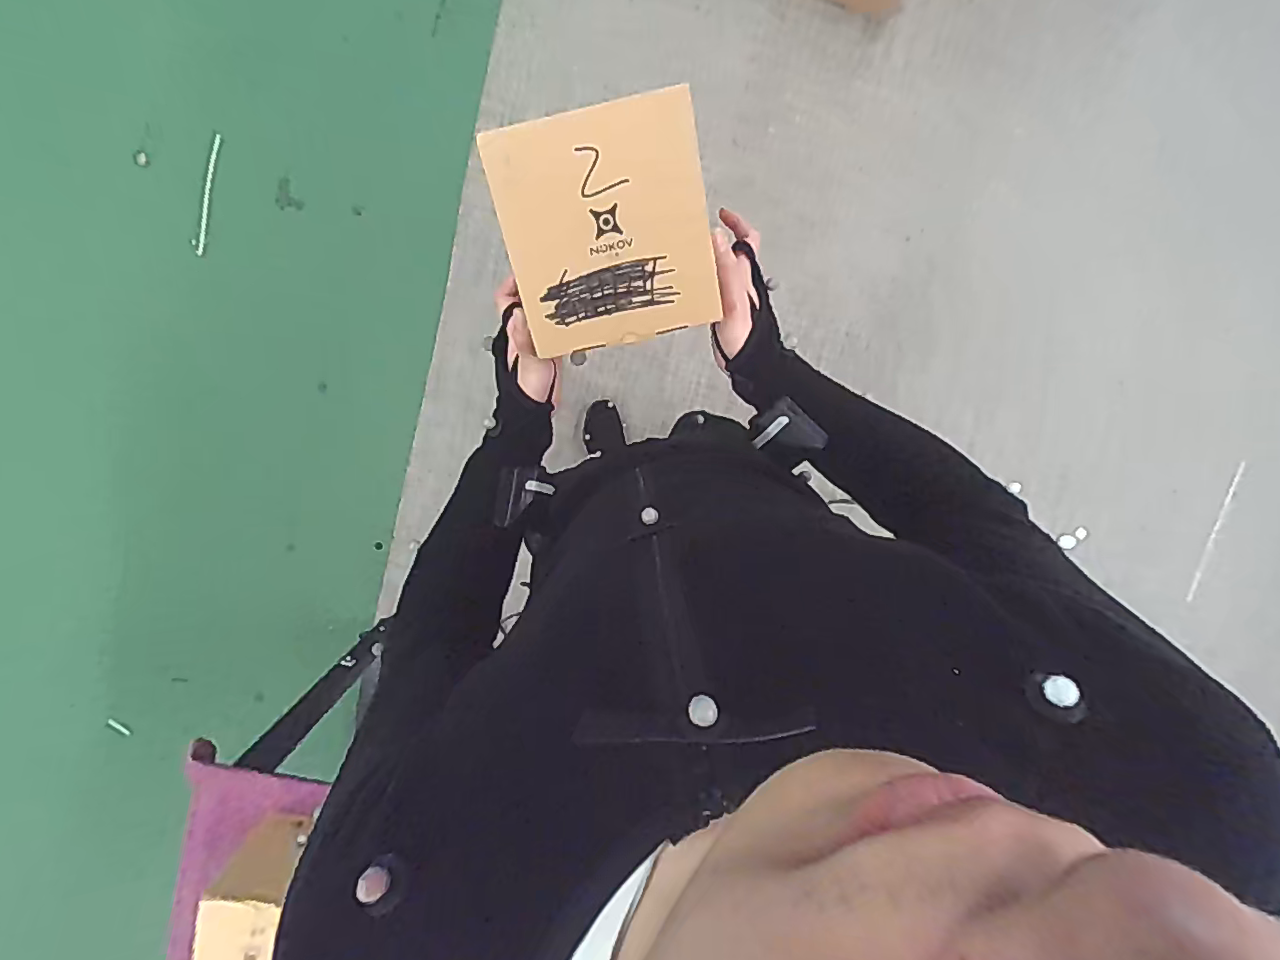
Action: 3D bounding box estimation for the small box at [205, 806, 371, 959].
[{"bbox_3d":[-0.570,0.687,0.894,0.168,0.176,0.179,12,98,-5],"label":"small box"}]
